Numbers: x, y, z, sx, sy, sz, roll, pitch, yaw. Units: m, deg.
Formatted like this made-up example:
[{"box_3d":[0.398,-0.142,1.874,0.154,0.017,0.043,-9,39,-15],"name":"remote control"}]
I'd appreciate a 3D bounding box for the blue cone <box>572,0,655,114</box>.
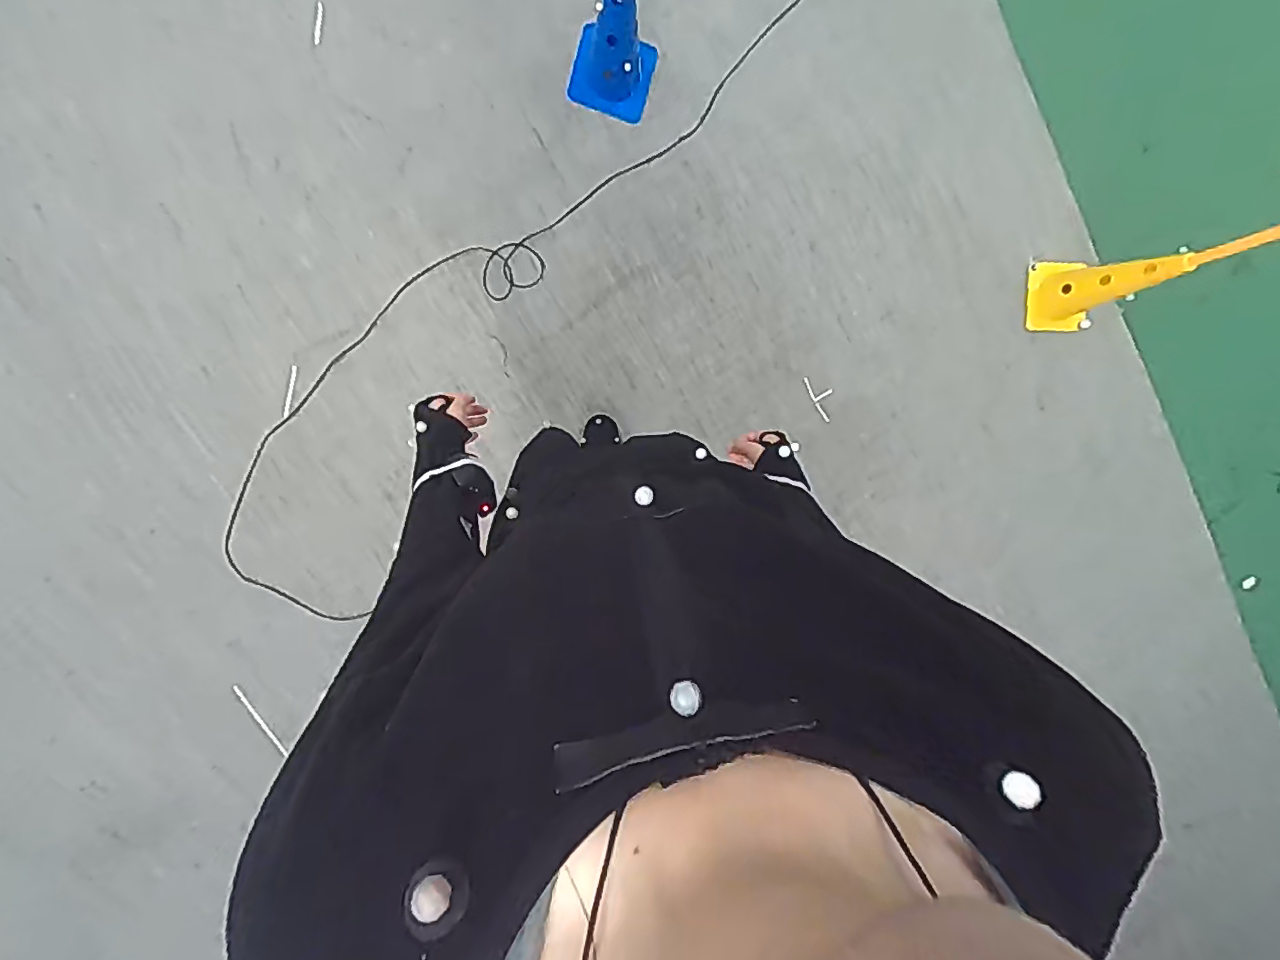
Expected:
[{"box_3d":[-0.051,-1.027,1.213,0.193,0.380,0.192,14,94,-7],"name":"blue cone"}]
